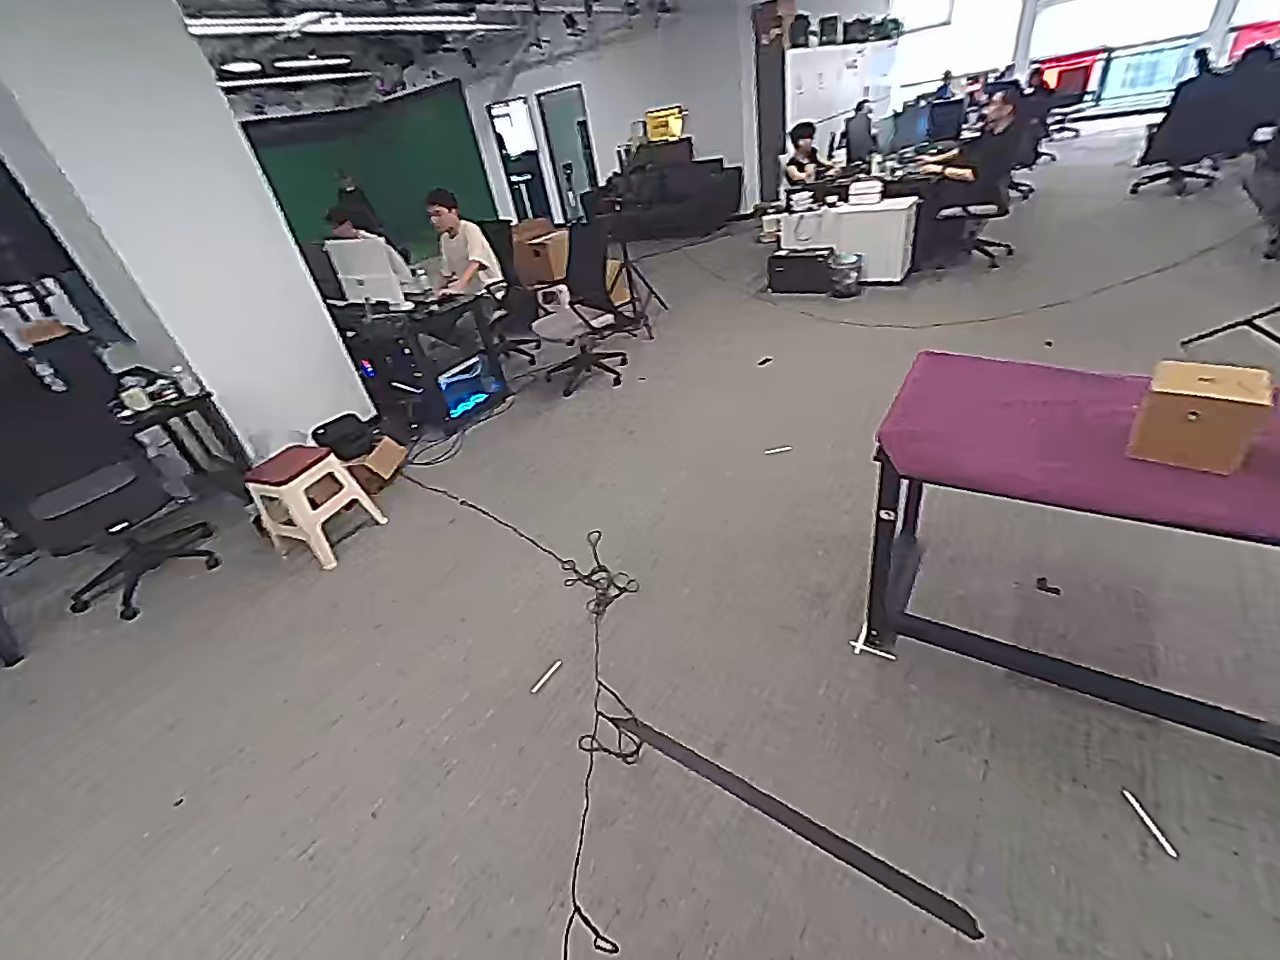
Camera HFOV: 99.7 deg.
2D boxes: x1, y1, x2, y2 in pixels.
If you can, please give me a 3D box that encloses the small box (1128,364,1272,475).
[{"bbox_3d":[1.192,-0.132,1.160,0.179,0.176,0.168,21,45,38],"label":"small box"}]
